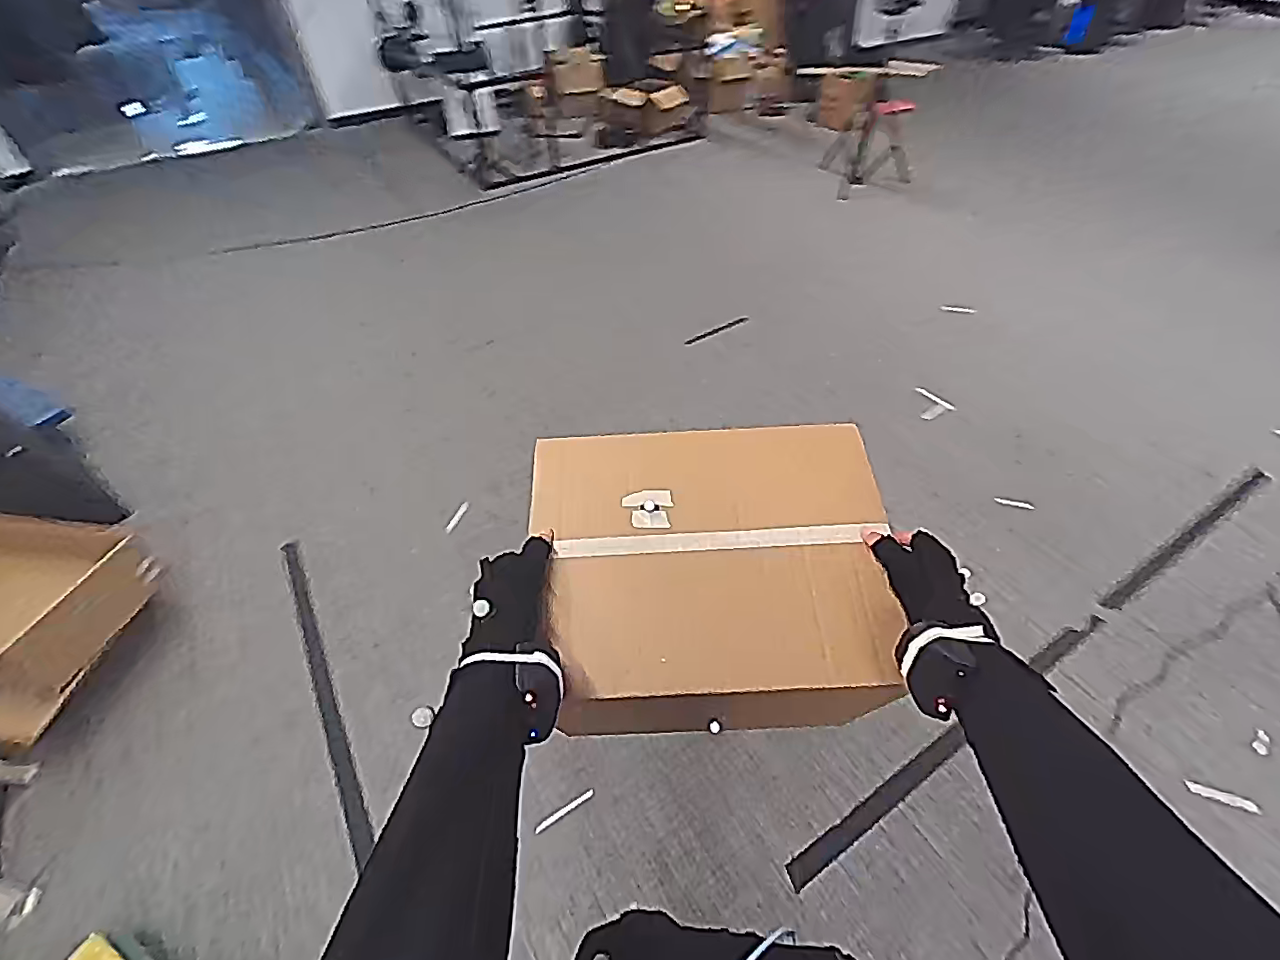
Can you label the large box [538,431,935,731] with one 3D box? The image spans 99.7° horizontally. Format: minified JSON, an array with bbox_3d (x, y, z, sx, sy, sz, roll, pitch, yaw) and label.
[{"bbox_3d":[0.099,0.155,0.740,0.408,0.320,0.320,-3,58,2],"label":"large box"}]
